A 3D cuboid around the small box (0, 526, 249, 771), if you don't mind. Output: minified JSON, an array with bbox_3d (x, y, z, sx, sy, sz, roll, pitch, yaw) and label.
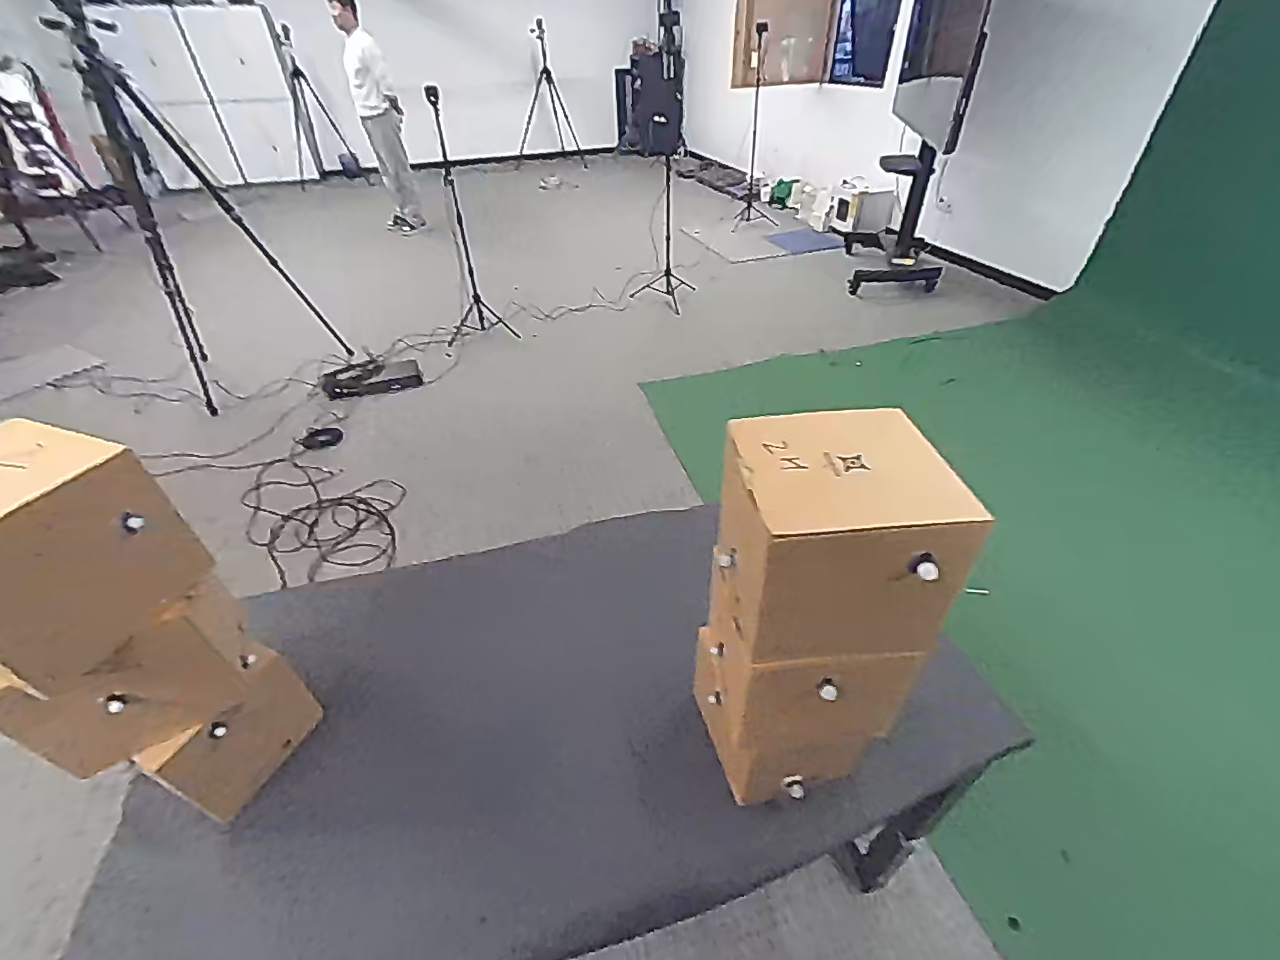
[{"bbox_3d":[-0.587,0.191,0.626,0.179,0.176,0.168,-26,46,-25],"label":"small box"}]

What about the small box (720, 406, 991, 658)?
[{"bbox_3d":[0.178,0.049,0.514,0.179,0.176,0.168,-5,38,-1],"label":"small box"}]

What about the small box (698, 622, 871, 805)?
[{"bbox_3d":[0.182,0.296,0.729,0.168,0.176,0.179,-12,40,-11],"label":"small box"}]

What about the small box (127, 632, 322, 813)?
[{"bbox_3d":[-0.585,0.314,0.735,0.179,0.176,0.168,15,43,18],"label":"small box"}]

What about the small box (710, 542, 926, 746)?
[{"bbox_3d":[0.181,0.179,0.616,0.179,0.176,0.168,-6,39,-2],"label":"small box"}]
